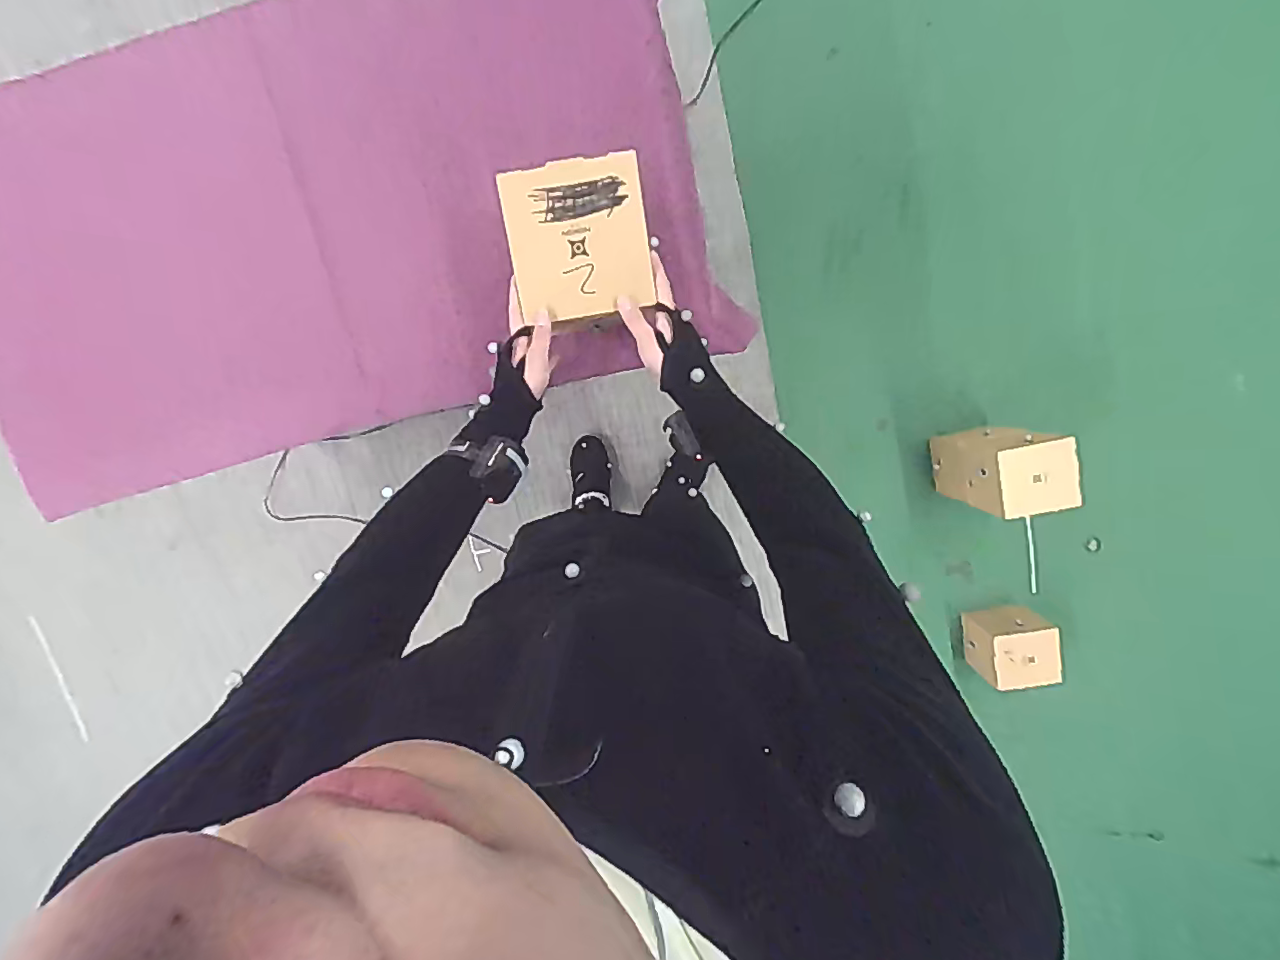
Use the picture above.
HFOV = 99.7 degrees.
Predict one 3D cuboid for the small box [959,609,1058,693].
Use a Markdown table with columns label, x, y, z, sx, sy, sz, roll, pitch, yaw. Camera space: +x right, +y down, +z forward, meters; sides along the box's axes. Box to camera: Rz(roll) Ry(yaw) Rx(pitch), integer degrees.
| label | x | y | z | sx | sy | sz | roll | pitch | yaw |
| --- | --- | --- | --- | --- | --- | --- | --- | --- | --- |
| small box | 1.063 | 0.488 | 1.566 | 0.179 | 0.176 | 0.168 | -10 | 99 | 5 |

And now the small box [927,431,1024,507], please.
| label | x | y | z | sx | sy | sz | roll | pitch | yaw |
| --- | --- | --- | --- | --- | --- | --- | --- | --- | --- |
| small box | 0.924 | -0.036 | 1.487 | 0.179 | 0.176 | 0.168 | -12 | 98 | 5 |

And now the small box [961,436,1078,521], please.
| label | x | y | z | sx | sy | sz | roll | pitch | yaw |
| --- | --- | --- | --- | --- | --- | --- | --- | --- | --- |
| small box | 0.917 | -0.008 | 1.327 | 0.179 | 0.176 | 0.168 | -12 | 98 | 4 |
